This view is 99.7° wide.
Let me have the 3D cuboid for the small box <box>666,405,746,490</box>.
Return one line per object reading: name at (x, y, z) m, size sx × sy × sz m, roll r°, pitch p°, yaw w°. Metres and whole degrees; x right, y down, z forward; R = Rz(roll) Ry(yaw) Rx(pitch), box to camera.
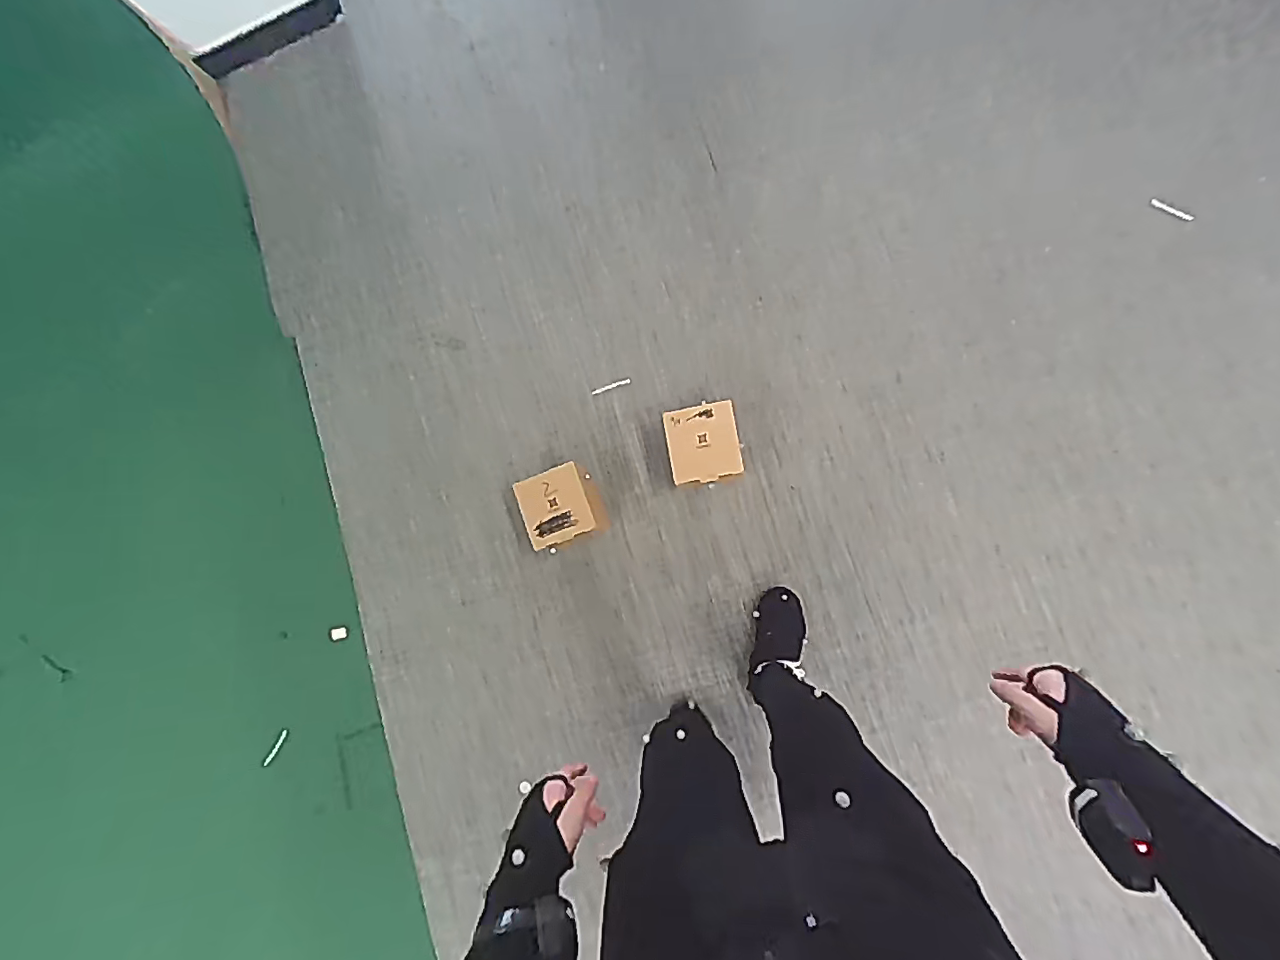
small box at (0.166, -0.072, 1.337) m, size 0.168 × 0.176 × 0.179 m, roll -11°, pitch 85°, yaw 8°
